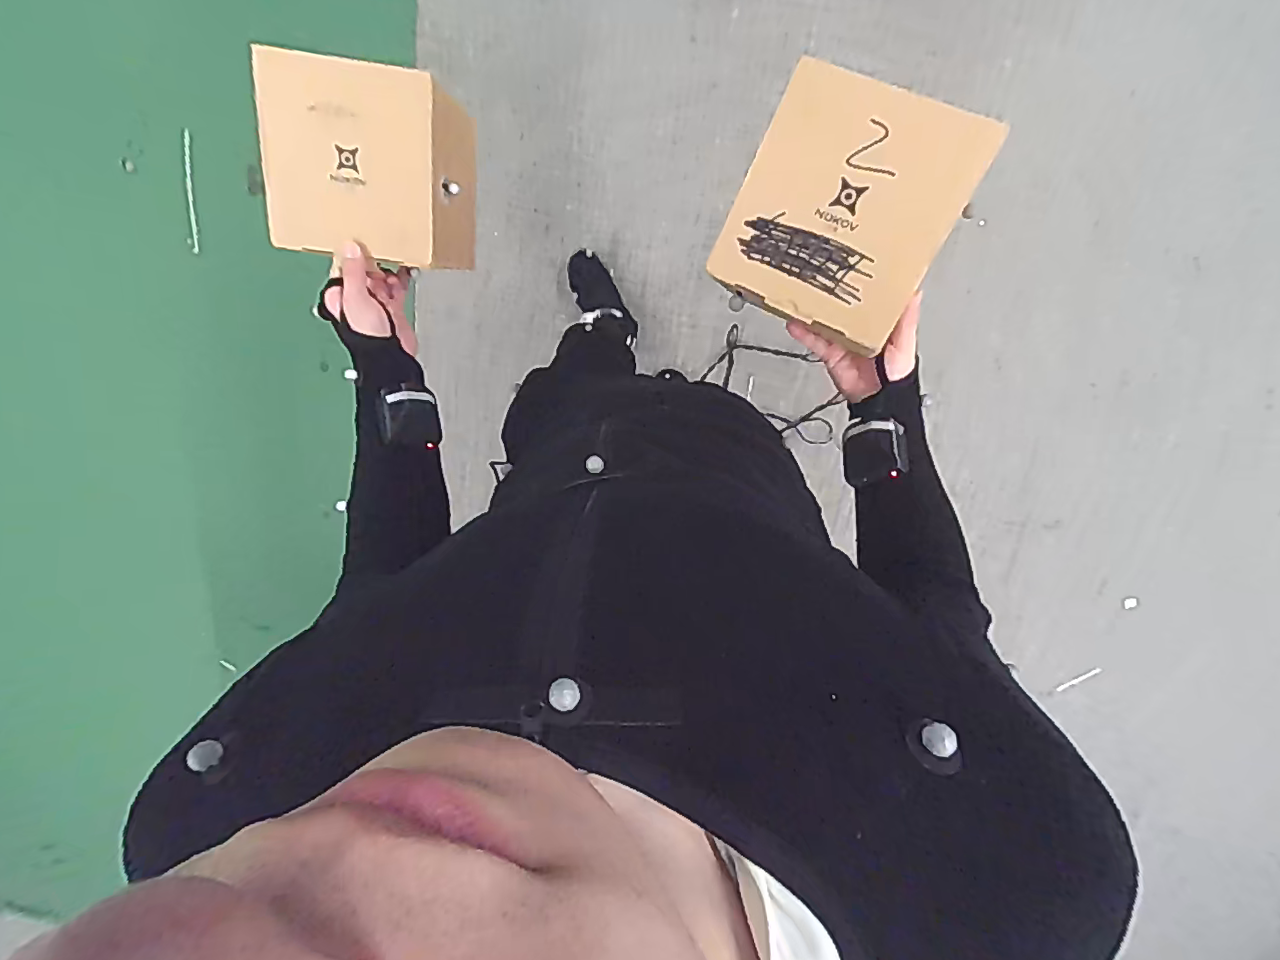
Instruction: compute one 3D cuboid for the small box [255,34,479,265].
[{"bbox_3d":[-0.285,-0.344,0.602,0.168,0.176,0.179,8,110,-4],"label":"small box"}]
